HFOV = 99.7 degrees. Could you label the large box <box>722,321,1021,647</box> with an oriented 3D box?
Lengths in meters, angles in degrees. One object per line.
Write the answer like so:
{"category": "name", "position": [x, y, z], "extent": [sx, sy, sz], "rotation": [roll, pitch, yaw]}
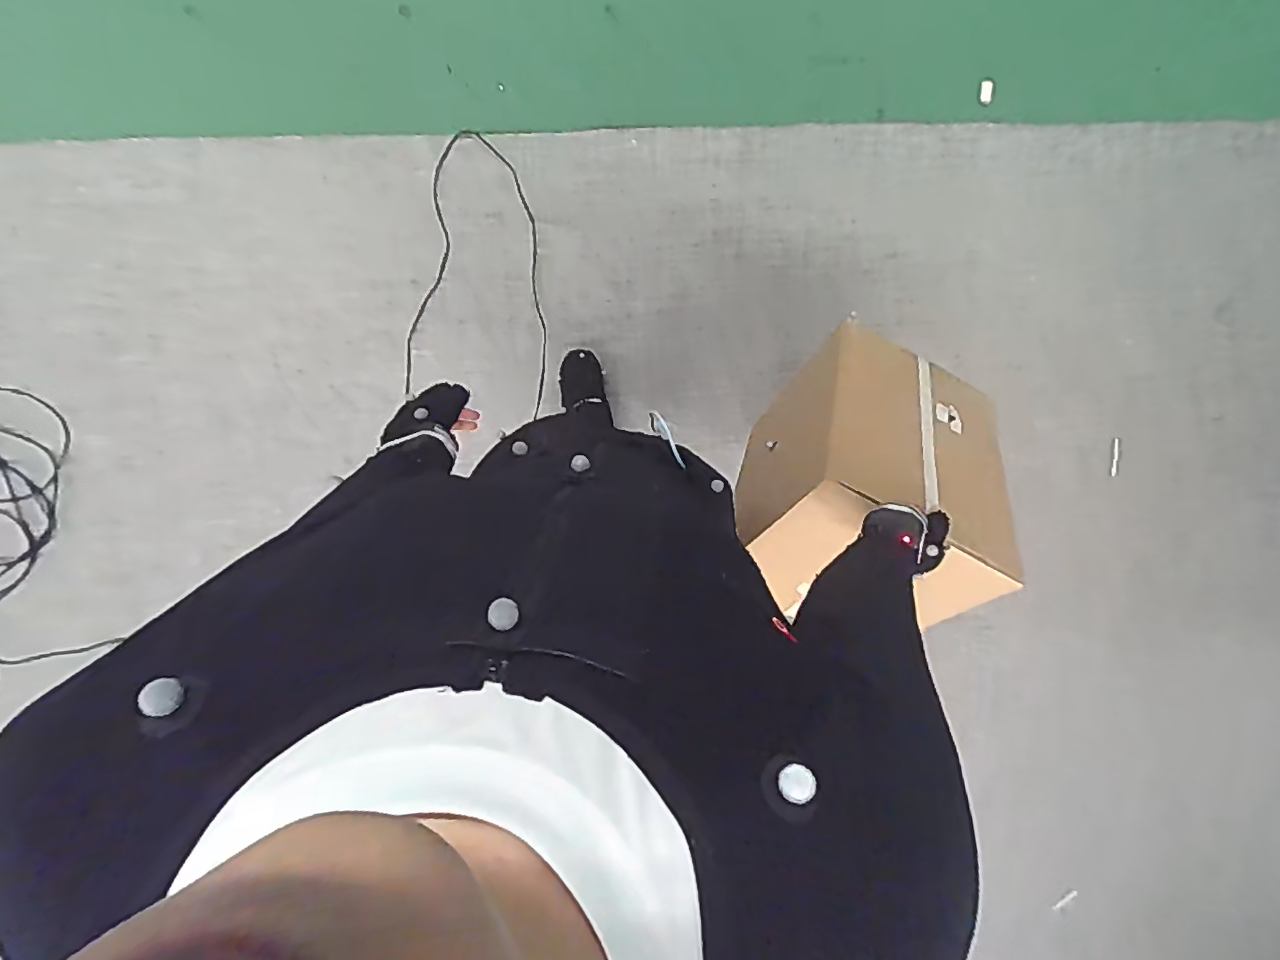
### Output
{"category": "large box", "position": [0.376, 0.011, 0.943], "extent": [0.320, 0.408, 0.320], "rotation": [28, 140, -7]}
